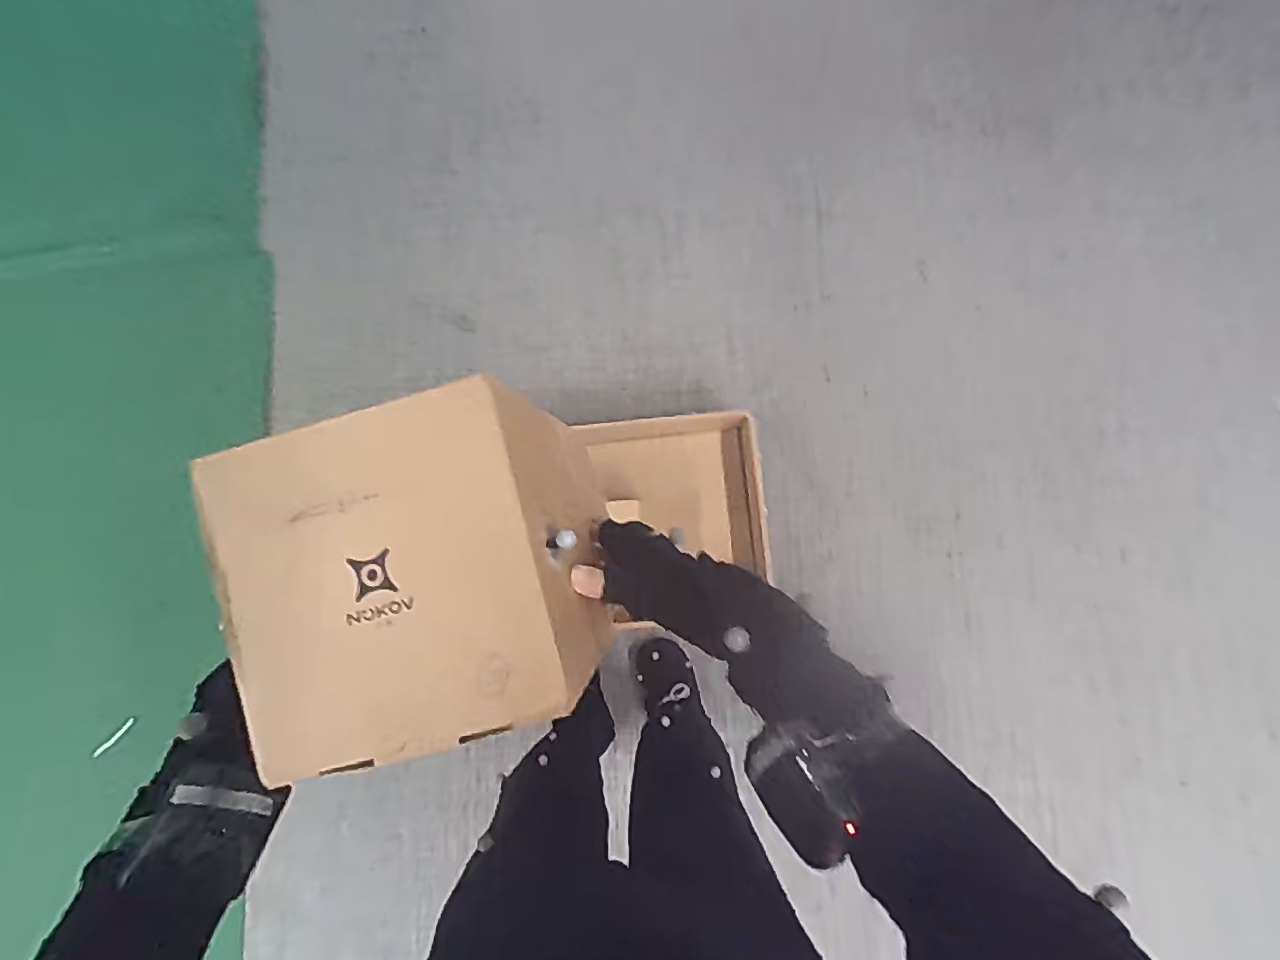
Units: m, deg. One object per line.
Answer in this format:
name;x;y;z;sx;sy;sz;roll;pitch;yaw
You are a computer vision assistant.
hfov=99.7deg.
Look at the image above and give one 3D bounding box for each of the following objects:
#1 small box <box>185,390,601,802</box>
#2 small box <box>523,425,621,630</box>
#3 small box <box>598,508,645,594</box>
small box;-0.130;0.061;0.350;0.168;0.176;0.179;-16;85;2
small box;-0.124;0.063;0.513;0.168;0.176;0.179;-20;87;3
small box;-0.081;0.146;1.114;0.179;0.176;0.168;-3;82;4
